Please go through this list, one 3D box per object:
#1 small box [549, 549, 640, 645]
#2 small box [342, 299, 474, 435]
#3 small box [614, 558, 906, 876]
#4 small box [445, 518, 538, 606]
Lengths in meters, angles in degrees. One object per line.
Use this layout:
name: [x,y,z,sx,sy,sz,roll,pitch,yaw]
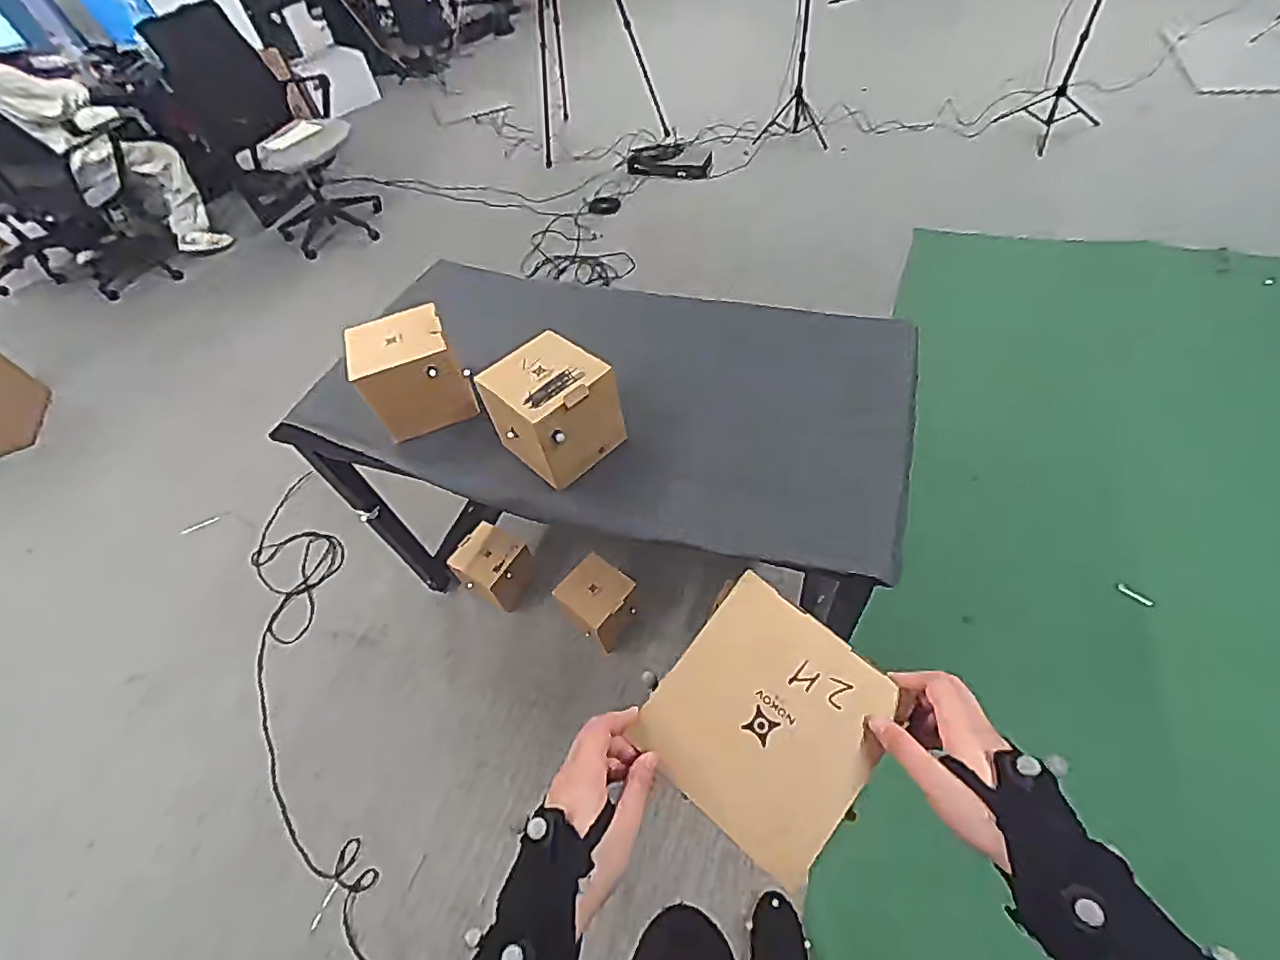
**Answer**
small box: [-0.118,0.332,1.502,0.179,0.176,0.168,31,62,29]
small box: [-0.445,-0.213,1.047,0.179,0.176,0.168,-21,53,-8]
small box: [0.101,0.202,0.503,0.168,0.176,0.179,38,78,14]
small box: [-0.437,0.250,1.613,0.179,0.176,0.168,23,60,25]
